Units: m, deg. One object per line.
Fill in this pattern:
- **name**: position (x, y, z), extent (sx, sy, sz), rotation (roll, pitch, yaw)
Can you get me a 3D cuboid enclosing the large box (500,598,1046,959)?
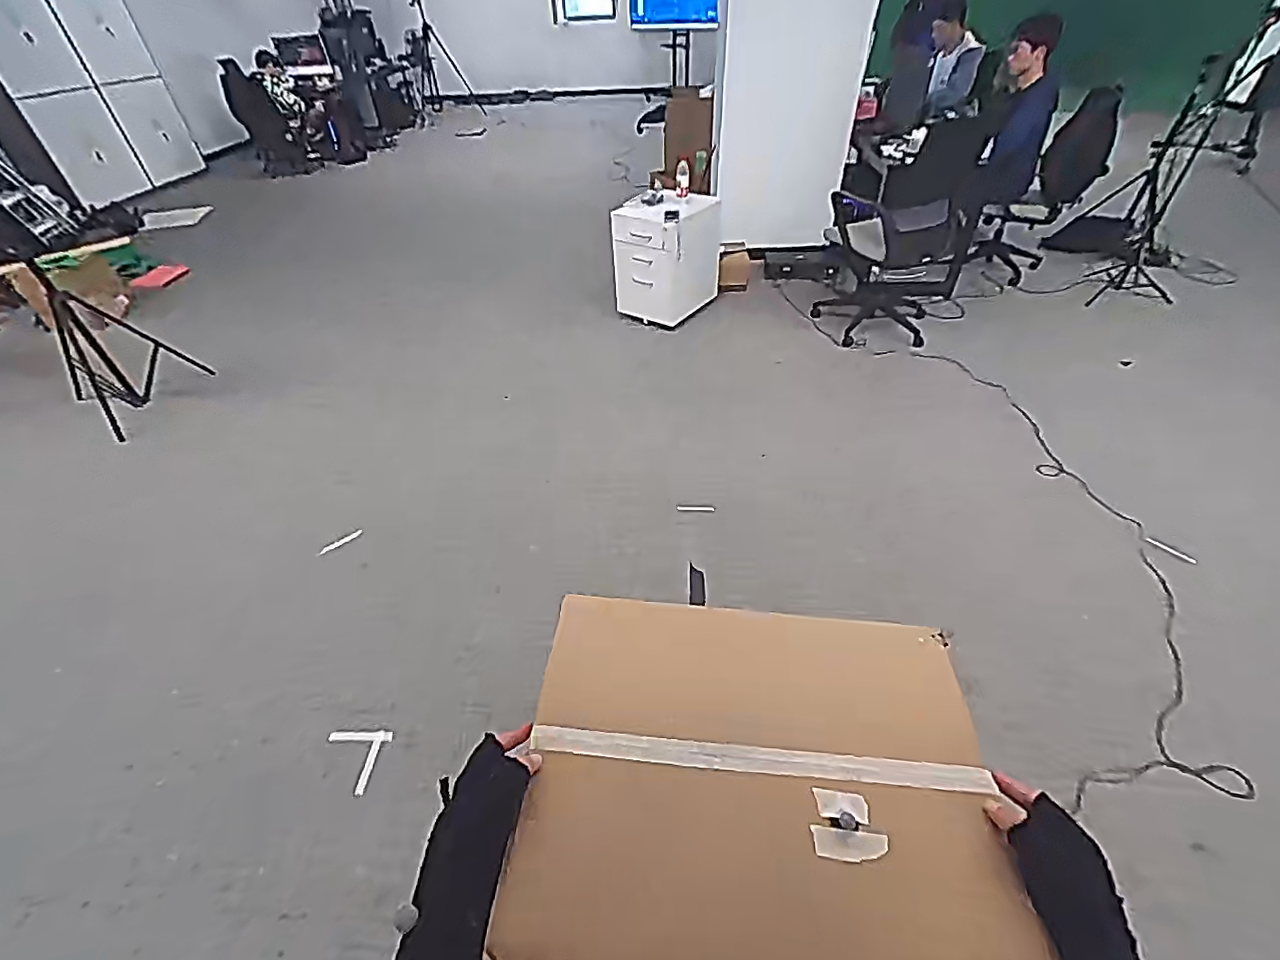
- **large box**: position (0.100, 0.358, 0.589), extent (0.408, 0.320, 0.320), rotation (5, 44, 3)
